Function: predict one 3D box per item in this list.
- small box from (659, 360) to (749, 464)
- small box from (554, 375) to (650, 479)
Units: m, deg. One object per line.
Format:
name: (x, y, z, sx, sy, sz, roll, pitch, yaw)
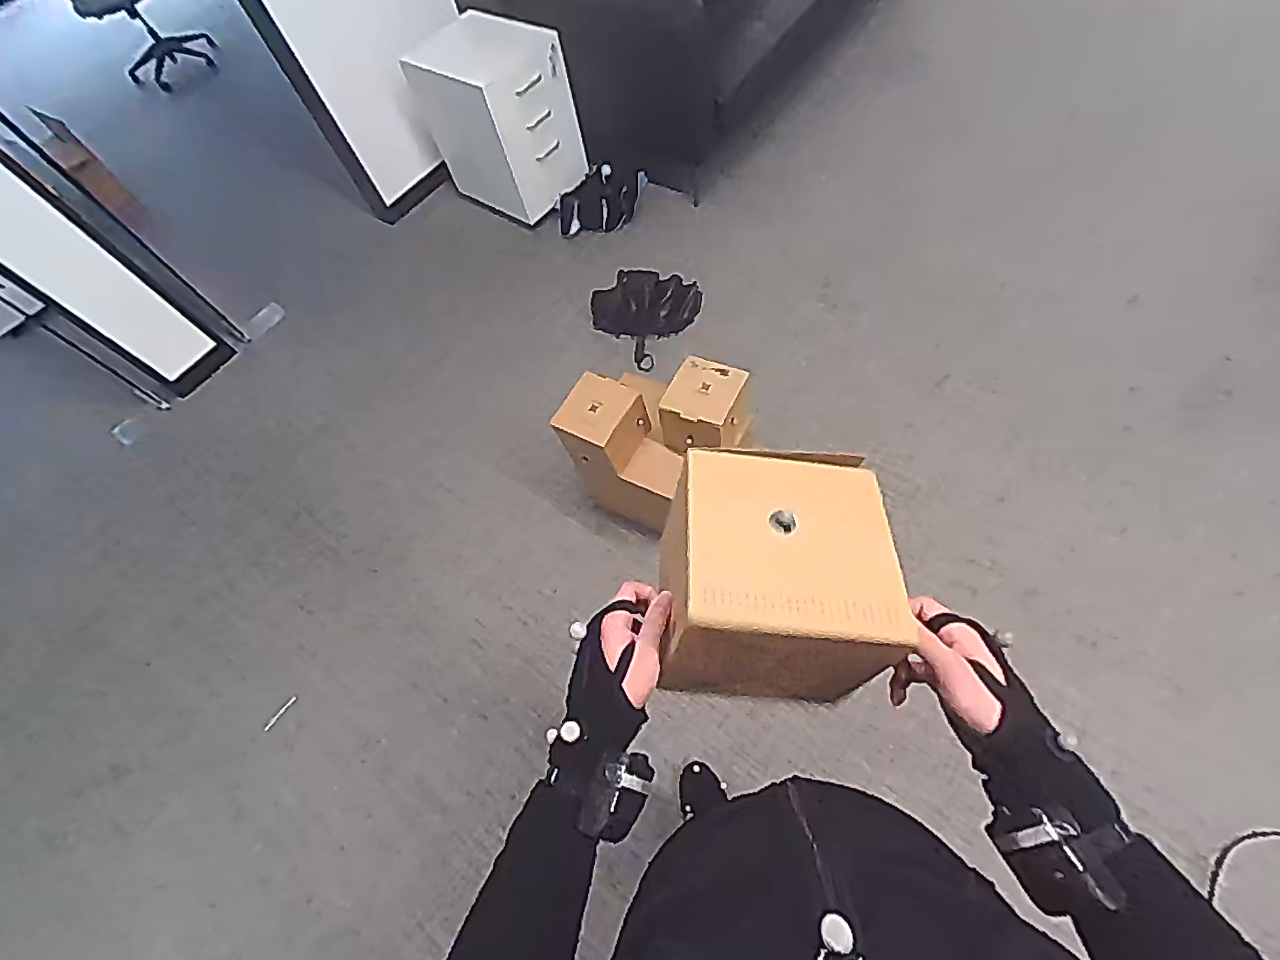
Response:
small box: (0.168, -0.166, 1.360, 0.168, 0.176, 0.179, 21, 66, 20)
small box: (-0.087, -0.132, 1.392, 0.168, 0.176, 0.179, 24, 72, 23)
